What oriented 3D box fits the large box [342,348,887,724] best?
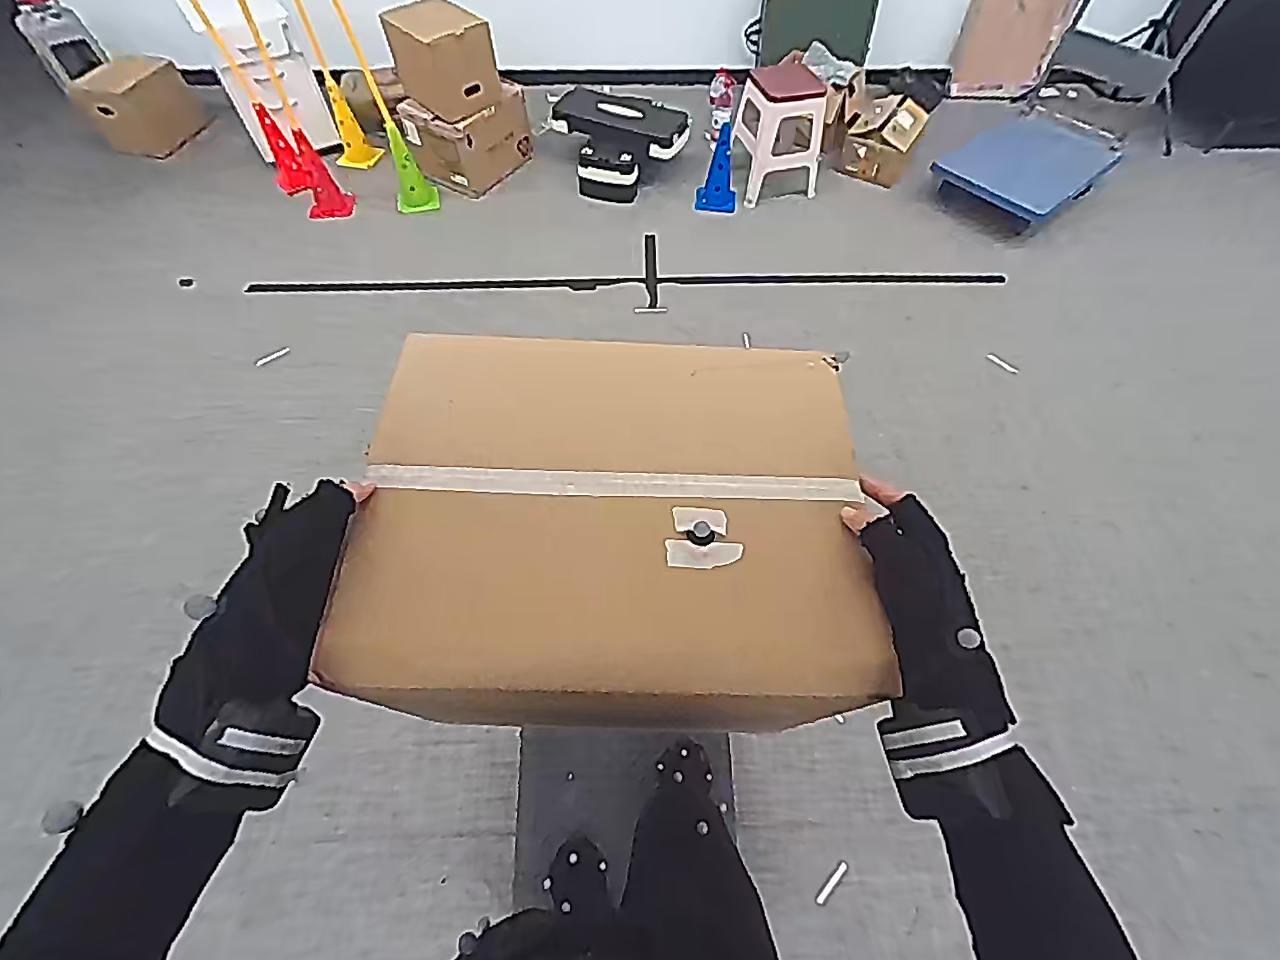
[{"bbox_3d":[-0.023,0.083,0.589,0.408,0.320,0.320,3,61,-2],"label":"large box"}]
